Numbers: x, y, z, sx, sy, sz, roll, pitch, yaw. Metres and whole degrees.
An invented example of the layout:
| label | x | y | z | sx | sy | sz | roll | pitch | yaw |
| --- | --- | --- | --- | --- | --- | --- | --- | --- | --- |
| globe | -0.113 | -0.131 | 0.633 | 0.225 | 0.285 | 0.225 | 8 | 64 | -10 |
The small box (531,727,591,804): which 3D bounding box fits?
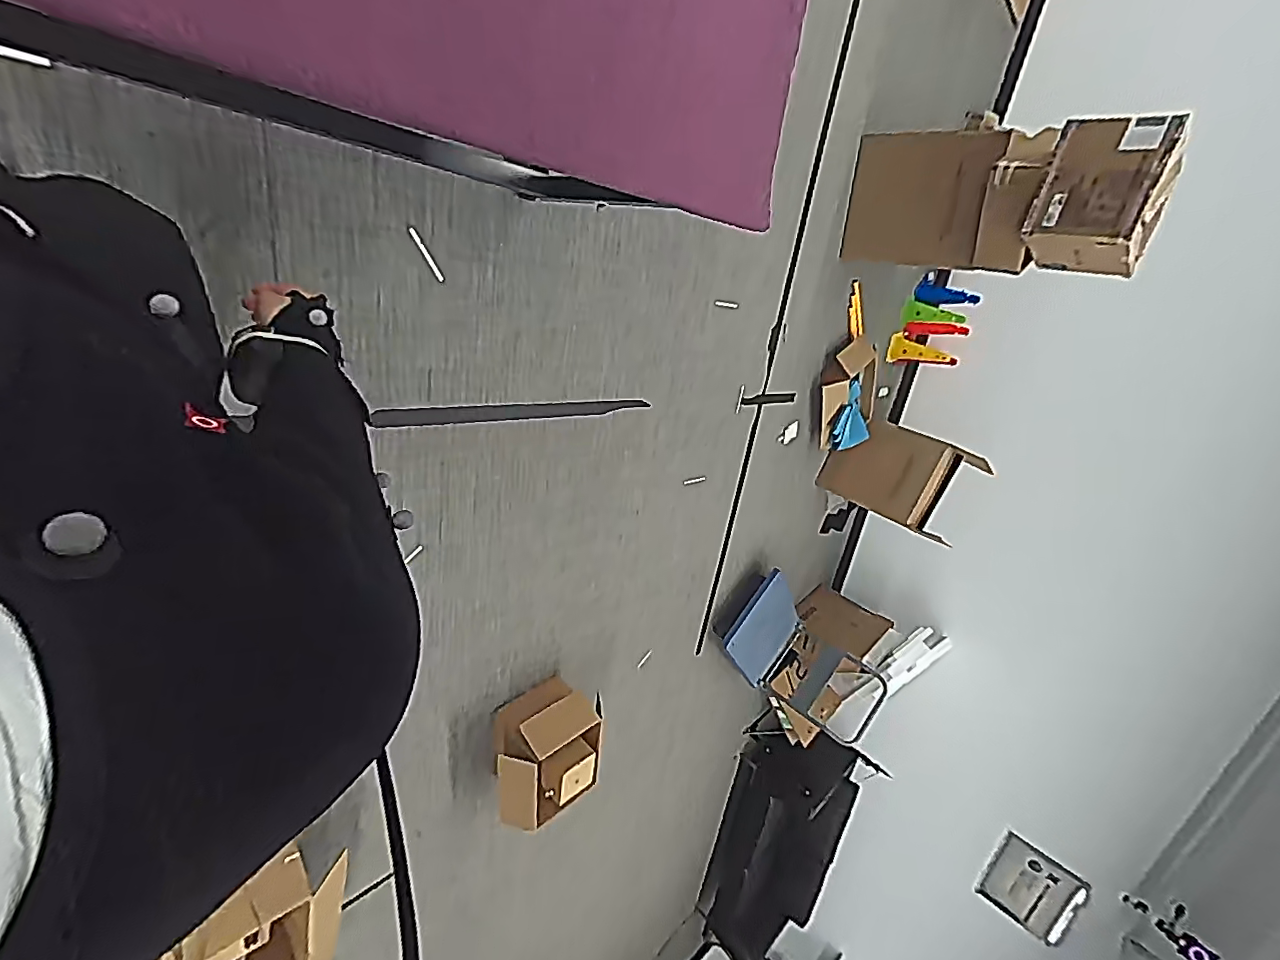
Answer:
| label | x | y | z | sx | sy | sz | roll | pitch | yaw |
| --- | --- | --- | --- | --- | --- | --- | --- | --- | --- |
| small box | -0.320 | 1.132 | 2.157 | 0.168 | 0.176 | 0.179 | -15 | 121 | -45 |
